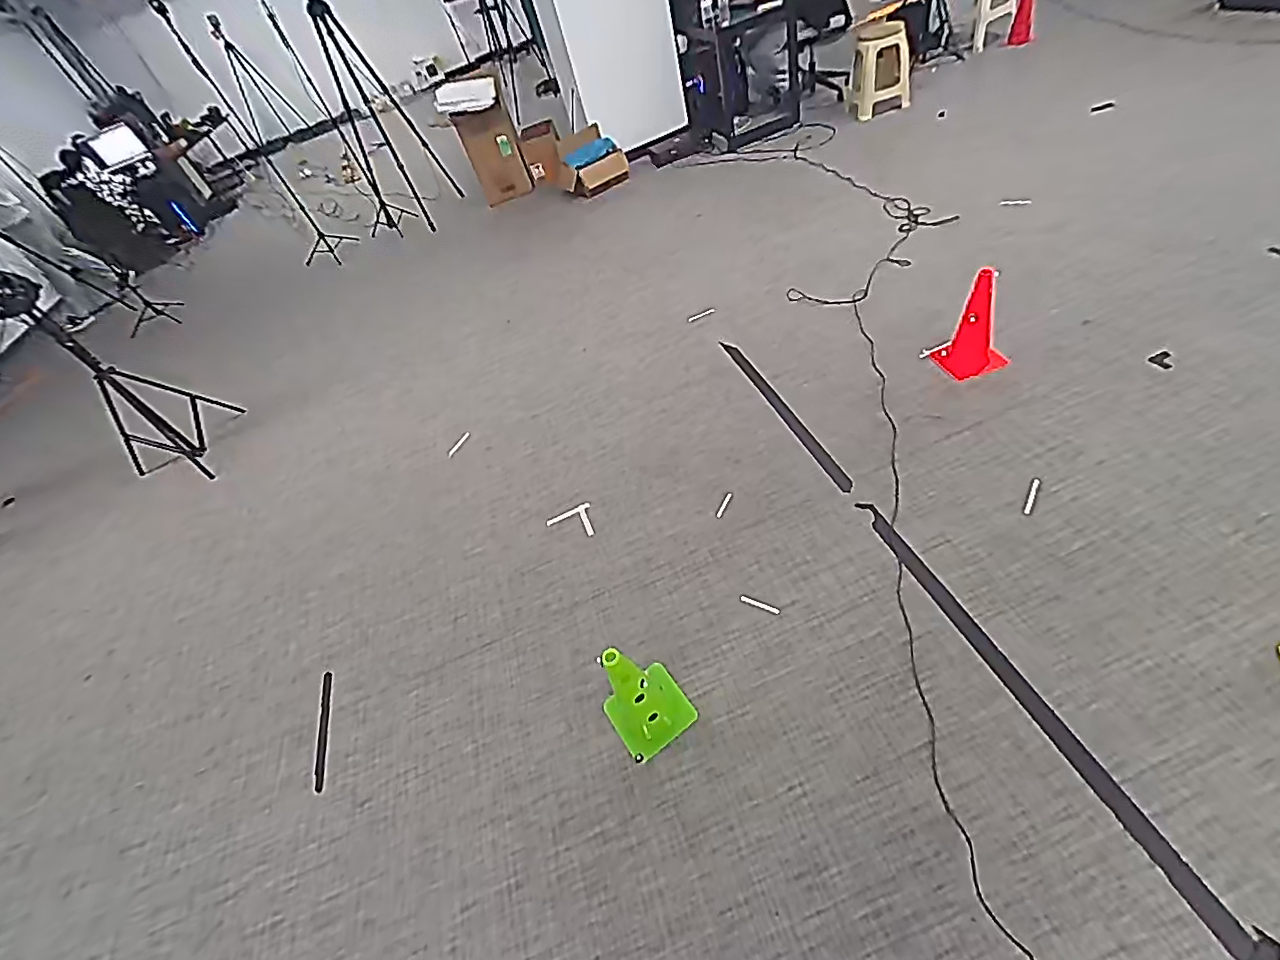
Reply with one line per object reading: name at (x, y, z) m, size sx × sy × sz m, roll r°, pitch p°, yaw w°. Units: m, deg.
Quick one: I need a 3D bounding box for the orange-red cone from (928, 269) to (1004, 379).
orange-red cone at (1.167, -0.565, 1.887) m, size 0.198 × 0.360 × 0.199 m, roll -19°, pitch 46°, yaw 4°

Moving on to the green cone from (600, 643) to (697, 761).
green cone at (-0.018, 0.504, 1.335) m, size 0.200 × 0.368 × 0.202 m, roll -35°, pitch 45°, yaw -13°
